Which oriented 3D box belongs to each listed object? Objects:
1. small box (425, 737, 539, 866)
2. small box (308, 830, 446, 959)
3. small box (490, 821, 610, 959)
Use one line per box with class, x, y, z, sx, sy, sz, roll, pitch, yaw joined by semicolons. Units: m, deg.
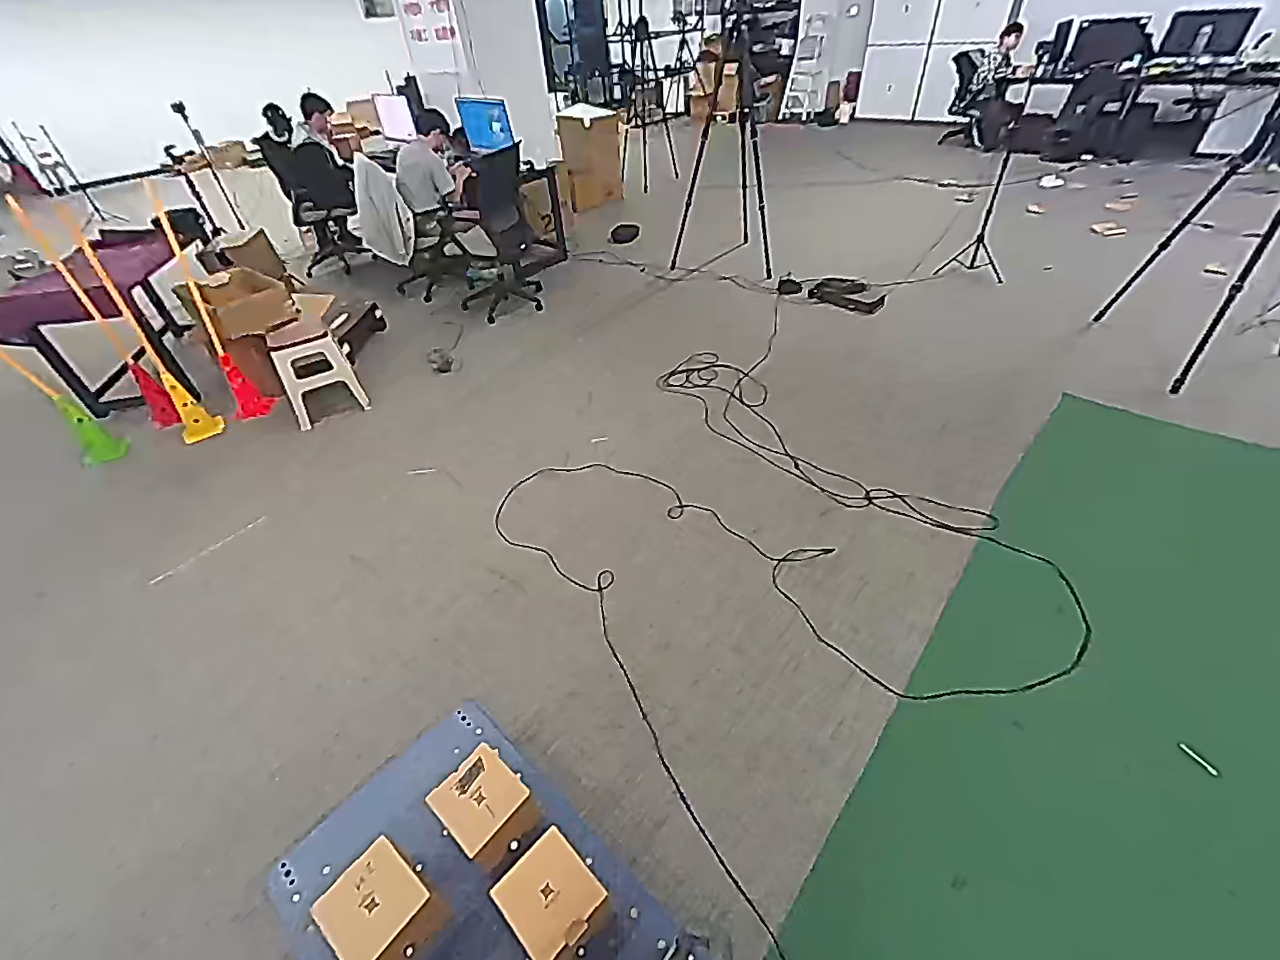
small box;-0.358;0.743;1.247;0.179;0.176;0.168;30;53;30
small box;-0.530;0.876;1.113;0.179;0.176;0.168;28;50;29
small box;-0.180;0.860;1.115;0.179;0.176;0.168;33;54;32
